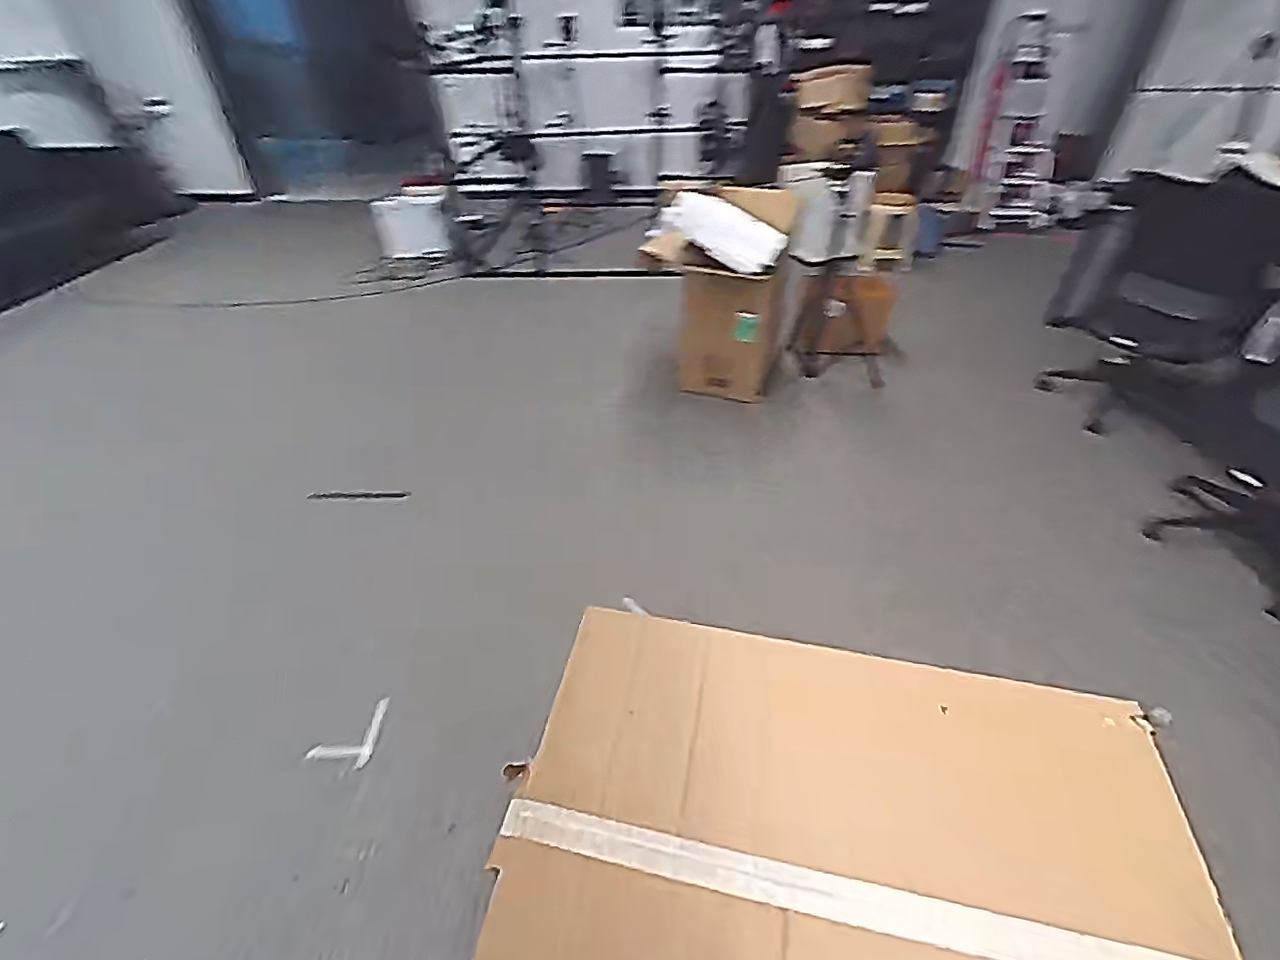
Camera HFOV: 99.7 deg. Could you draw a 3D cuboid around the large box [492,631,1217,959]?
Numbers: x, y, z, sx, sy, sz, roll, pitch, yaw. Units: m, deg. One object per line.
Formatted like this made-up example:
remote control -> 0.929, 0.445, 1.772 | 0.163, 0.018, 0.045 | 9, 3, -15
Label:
large box -> 0.122, 0.355, 0.425 | 0.408, 0.320, 0.320 | 7, 48, 8
